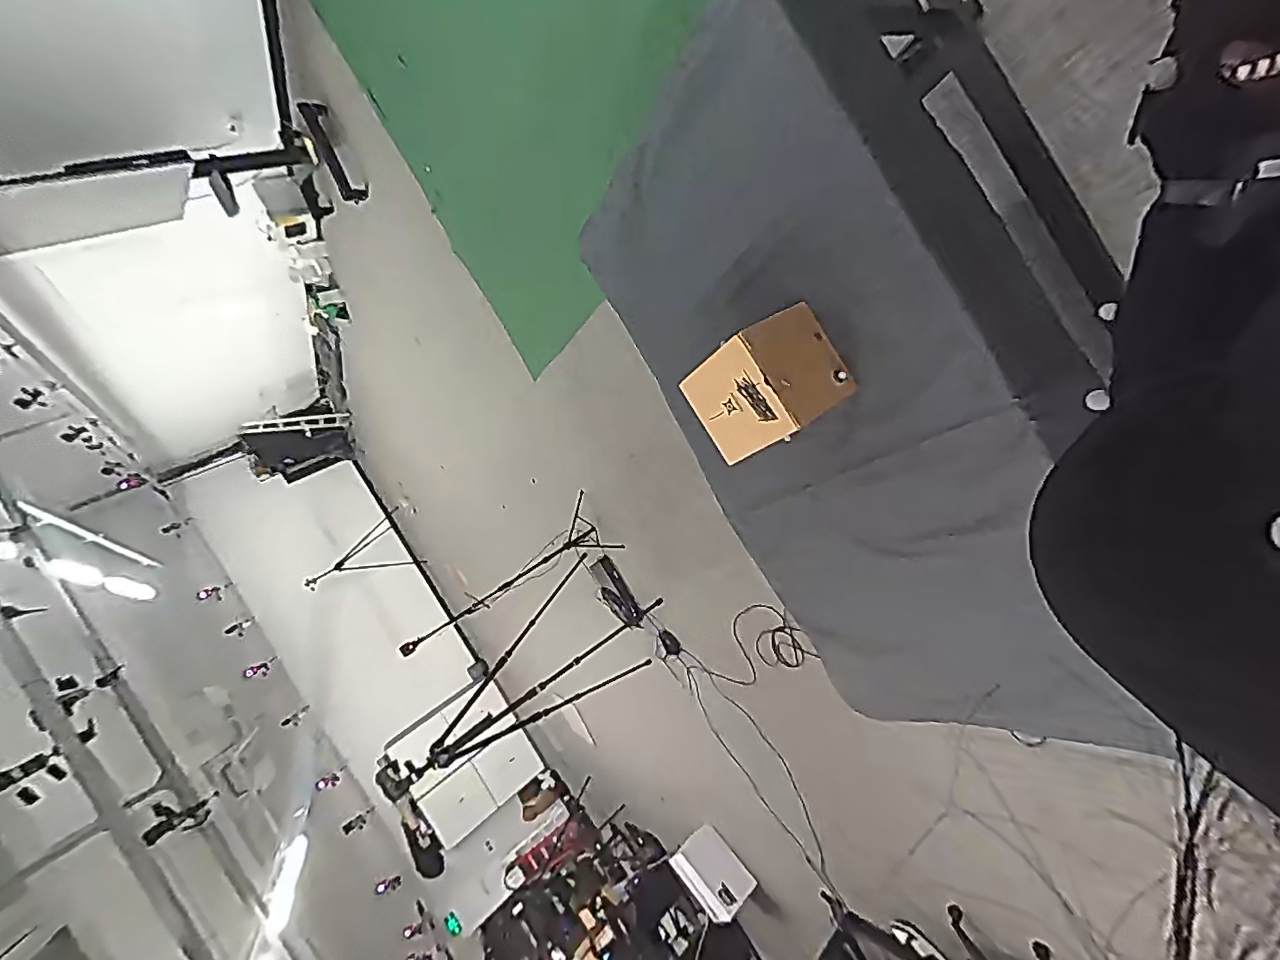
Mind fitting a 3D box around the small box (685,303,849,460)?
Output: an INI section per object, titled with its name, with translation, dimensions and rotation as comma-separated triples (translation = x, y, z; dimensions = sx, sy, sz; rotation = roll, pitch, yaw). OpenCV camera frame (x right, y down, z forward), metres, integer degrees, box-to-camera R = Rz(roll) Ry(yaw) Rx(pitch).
[small box]
translation = 0.213, -0.161, 0.887
dimensions = 0.168, 0.176, 0.179
rotation = 58, 150, 1
